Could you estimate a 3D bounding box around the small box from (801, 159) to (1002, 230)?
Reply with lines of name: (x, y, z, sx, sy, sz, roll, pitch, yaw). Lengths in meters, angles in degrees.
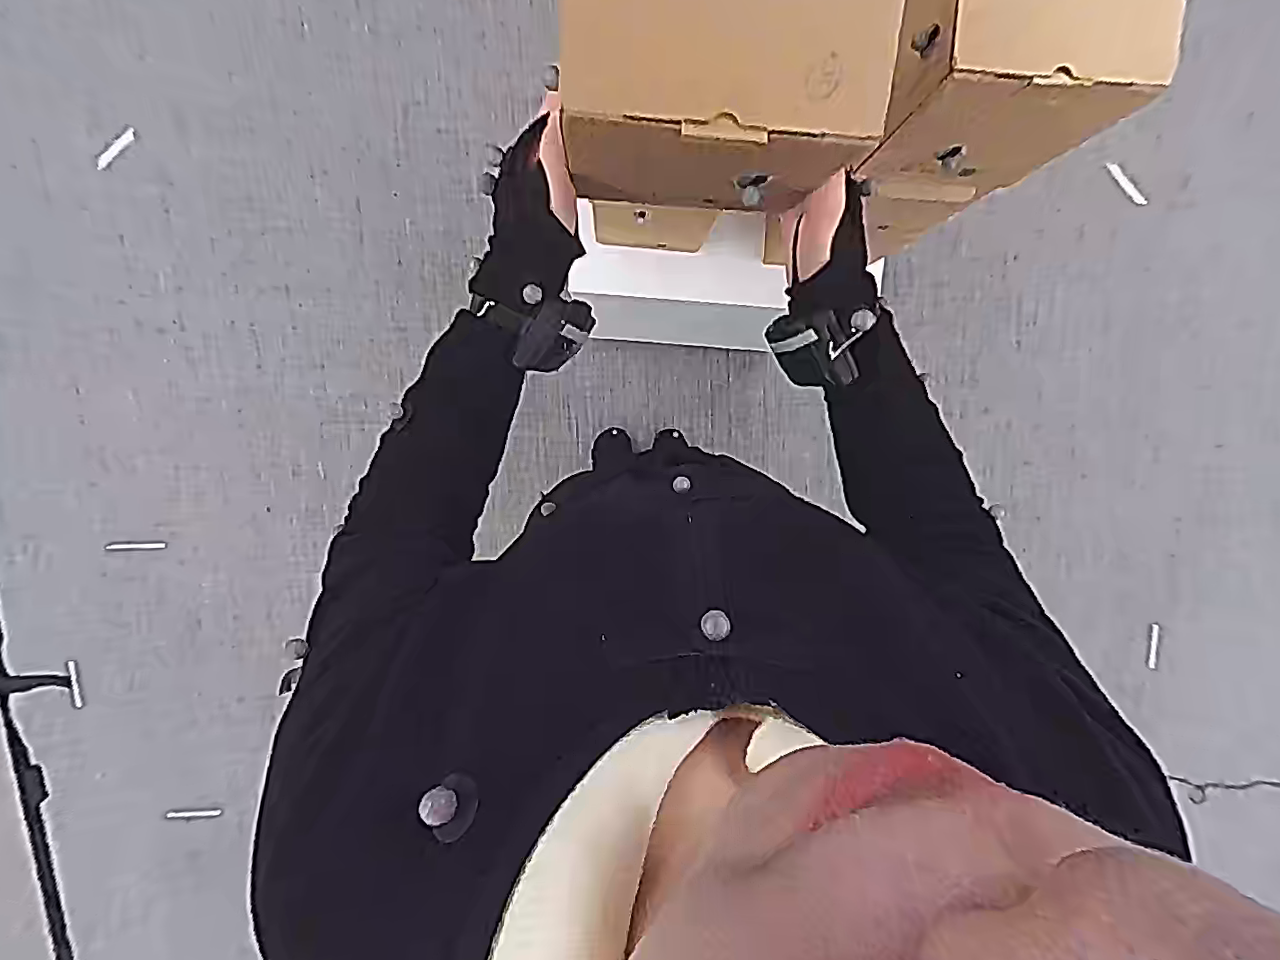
small box: (0.291, -0.400, 0.613, 0.168, 0.176, 0.179, 2, 97, -2)

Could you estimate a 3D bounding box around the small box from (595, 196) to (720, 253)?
small box: (0.024, -0.443, 0.762, 0.168, 0.176, 0.179, 4, 96, -3)

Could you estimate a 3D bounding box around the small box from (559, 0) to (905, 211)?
small box: (0.042, -0.274, 0.324, 0.168, 0.176, 0.179, 2, 105, -5)

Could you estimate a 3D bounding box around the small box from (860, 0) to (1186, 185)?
small box: (0.298, -0.377, 0.452, 0.168, 0.176, 0.179, 2, 98, -3)
